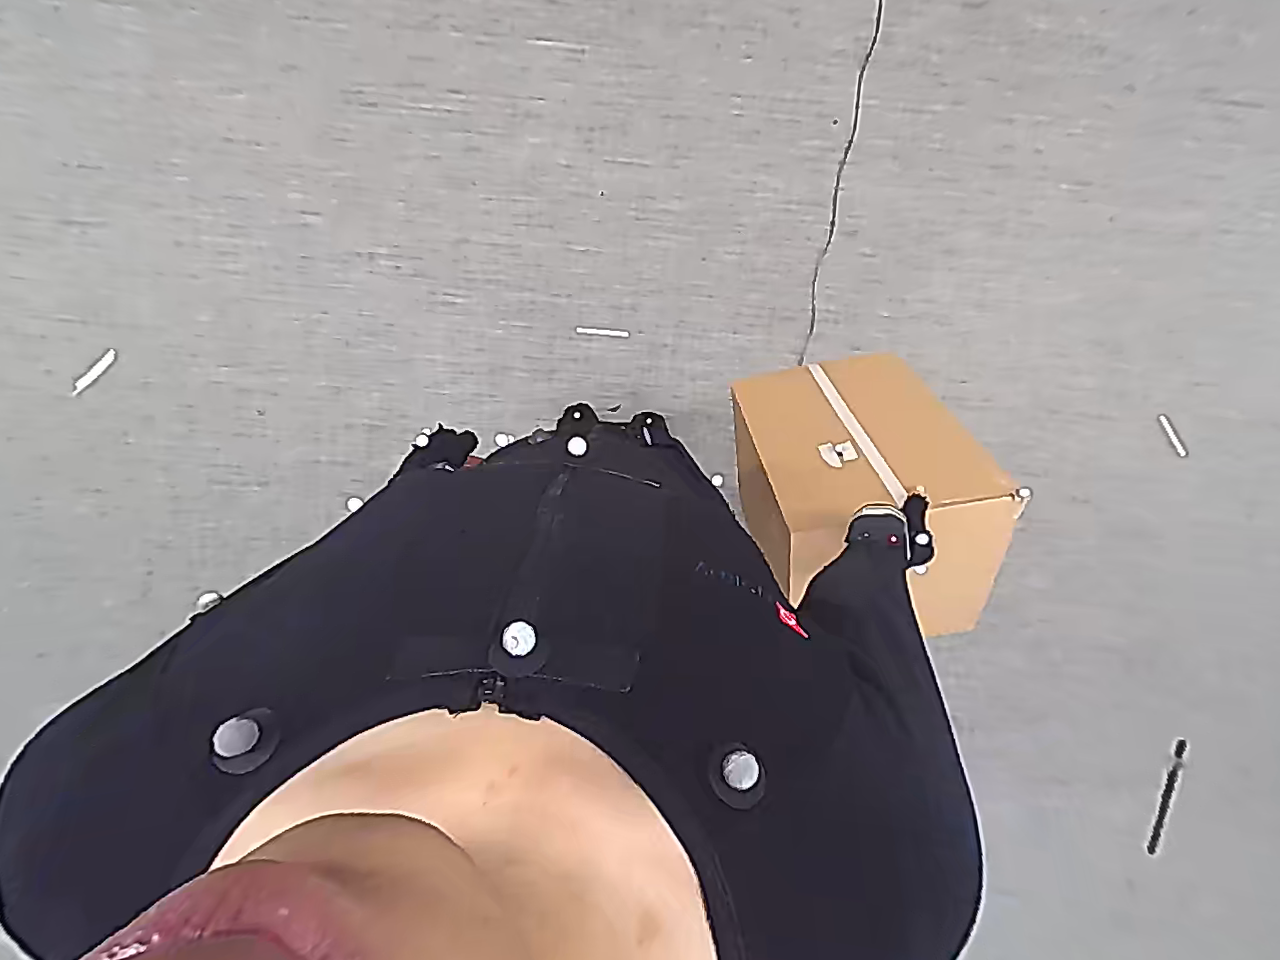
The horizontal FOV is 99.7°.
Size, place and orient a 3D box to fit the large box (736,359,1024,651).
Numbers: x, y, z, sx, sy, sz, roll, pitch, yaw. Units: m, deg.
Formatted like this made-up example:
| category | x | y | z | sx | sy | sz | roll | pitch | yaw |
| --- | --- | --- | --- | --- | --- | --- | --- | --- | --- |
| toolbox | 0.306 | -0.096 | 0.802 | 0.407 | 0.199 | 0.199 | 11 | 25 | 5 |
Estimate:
| category | x | y | z | sx | sy | sz | roll | pitch | yaw |
| --- | --- | --- | --- | --- | --- | --- | --- | --- | --- |
| large box | 0.373 | 0.034 | 0.976 | 0.320 | 0.408 | 0.320 | -10 | 131 | 3 |
